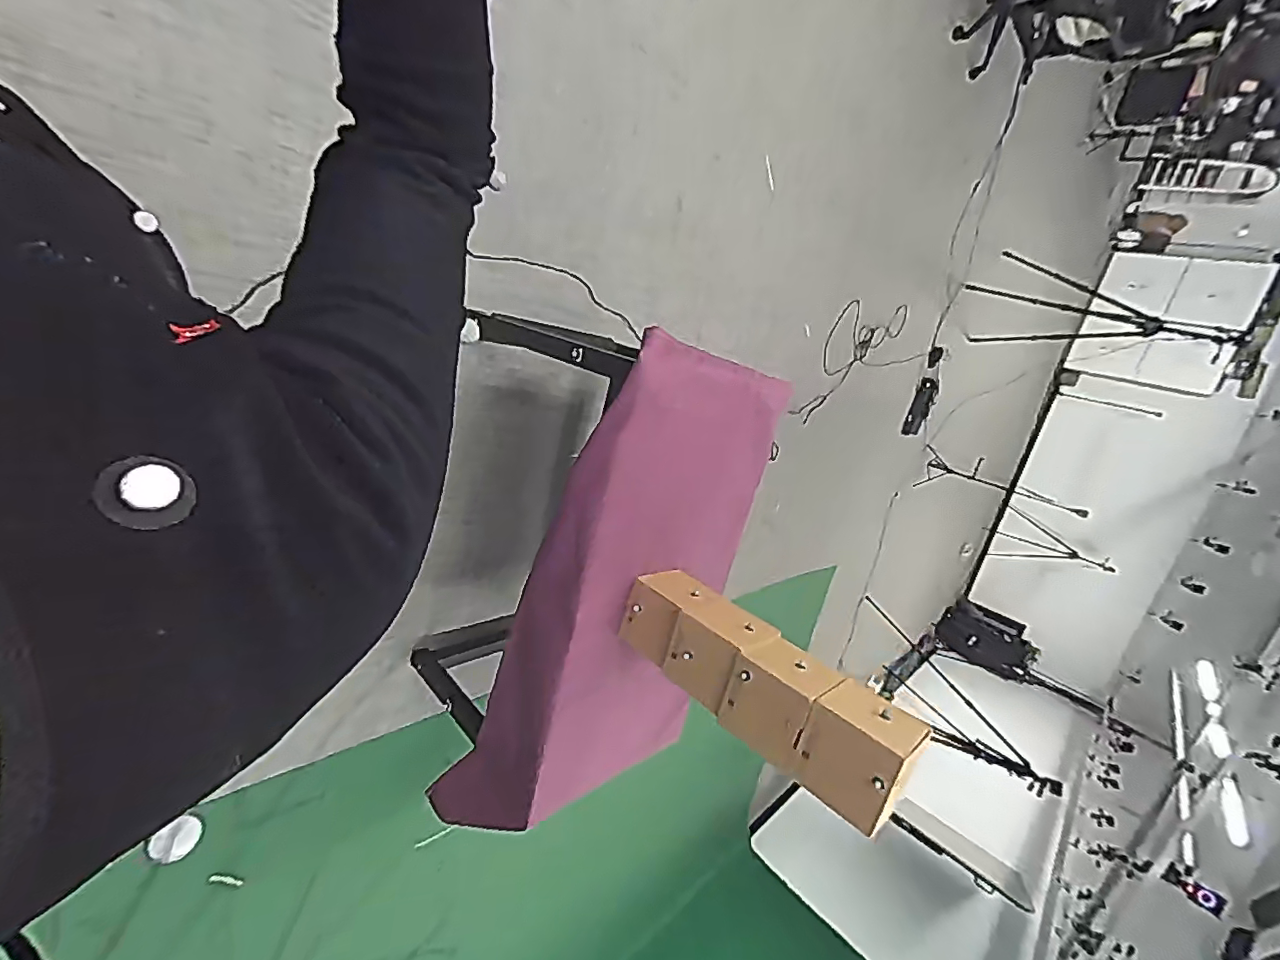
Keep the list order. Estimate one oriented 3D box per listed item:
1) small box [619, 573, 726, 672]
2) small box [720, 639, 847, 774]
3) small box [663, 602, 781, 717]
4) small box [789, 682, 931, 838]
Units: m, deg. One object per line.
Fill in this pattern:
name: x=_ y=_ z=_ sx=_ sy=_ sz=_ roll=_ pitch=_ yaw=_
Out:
small box: x=0.079 y=0.341 z=1.334 sx=0.179 sy=0.176 sz=0.168 roll=3 pitch=107 yaw=-48
small box: x=0.290 y=0.450 z=1.108 sx=0.179 sy=0.176 sz=0.168 roll=2 pitch=108 yaw=-49
small box: x=0.183 y=0.392 z=1.218 sx=0.179 sy=0.176 sz=0.168 roll=1 pitch=108 yaw=-48
small box: x=0.408 y=0.504 z=1.008 sx=0.179 sy=0.176 sz=0.168 roll=3 pitch=106 yaw=-49
